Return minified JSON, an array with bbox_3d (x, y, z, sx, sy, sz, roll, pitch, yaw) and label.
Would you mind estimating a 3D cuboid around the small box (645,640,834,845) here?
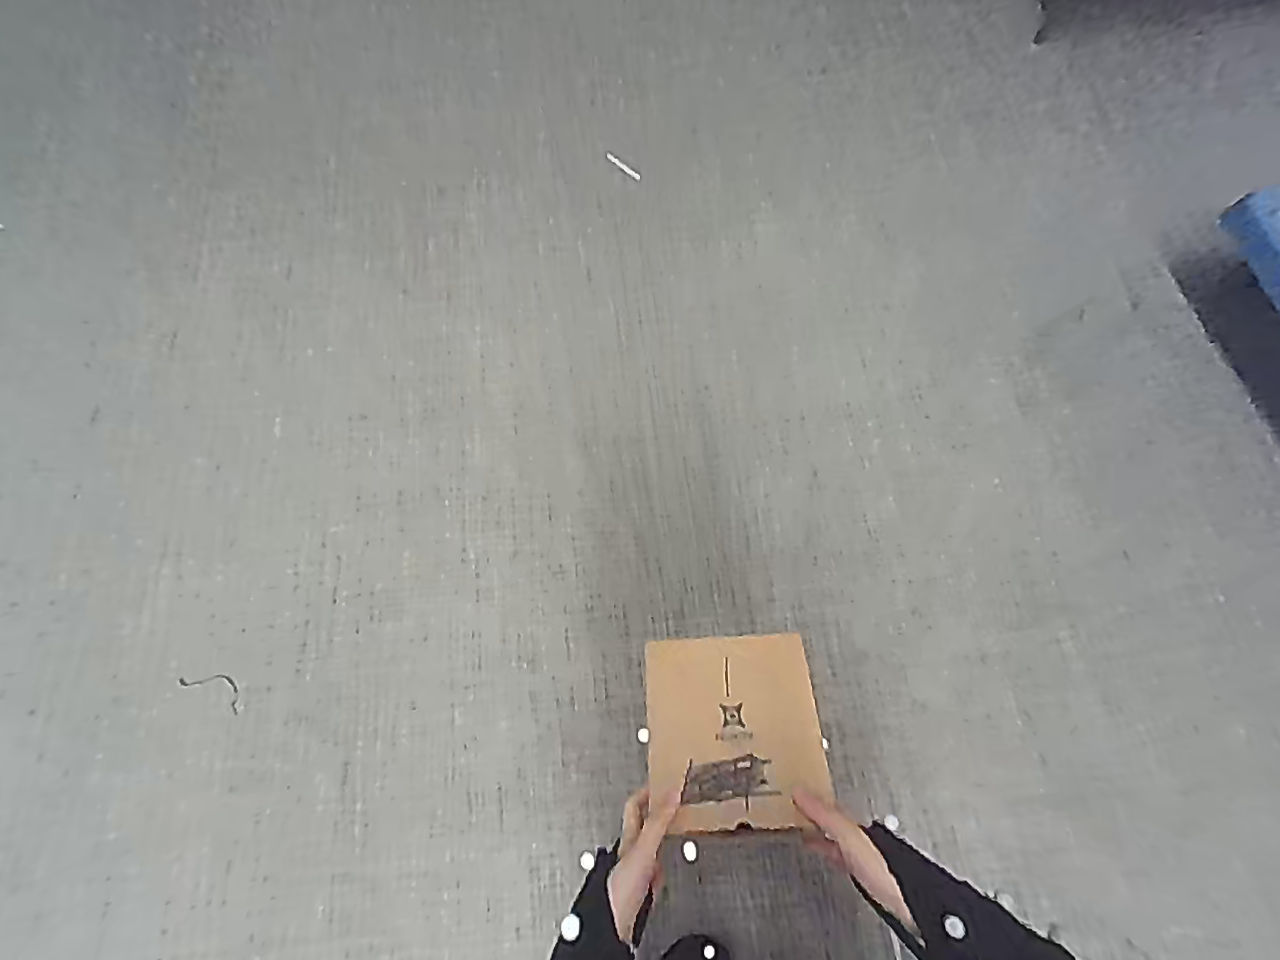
[{"bbox_3d":[0.095,0.287,0.582,0.168,0.176,0.179,-4,54,3],"label":"small box"}]
